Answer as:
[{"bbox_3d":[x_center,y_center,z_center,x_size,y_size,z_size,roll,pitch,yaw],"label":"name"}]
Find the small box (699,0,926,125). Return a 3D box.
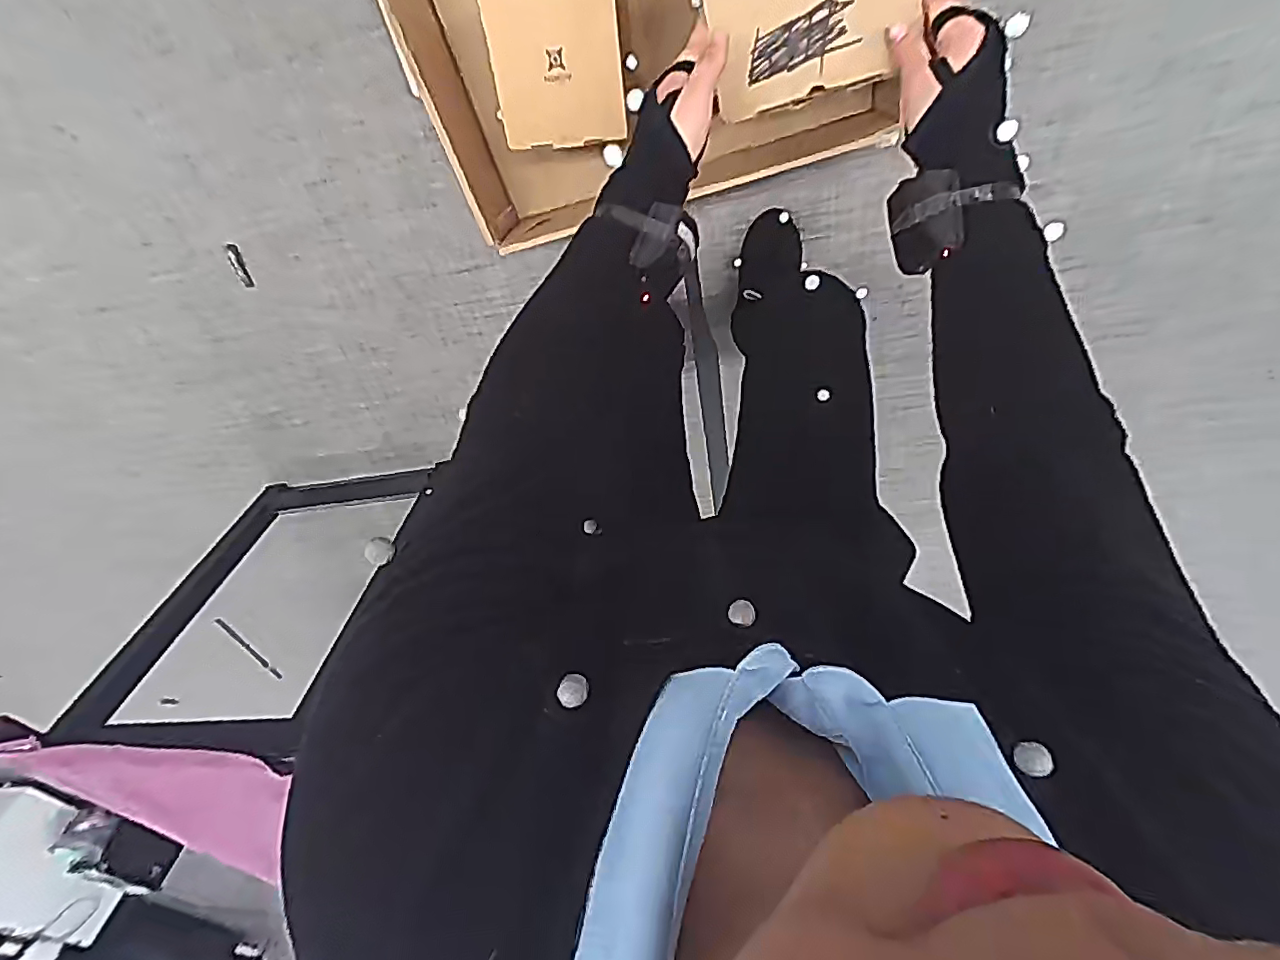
[{"bbox_3d":[0.138,-0.434,0.459,0.168,0.176,0.179,-7,126,17],"label":"small box"}]

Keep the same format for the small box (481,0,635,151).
[{"bbox_3d":[-0.098,-0.568,0.737,0.168,0.176,0.179,-3,129,6],"label":"small box"}]
